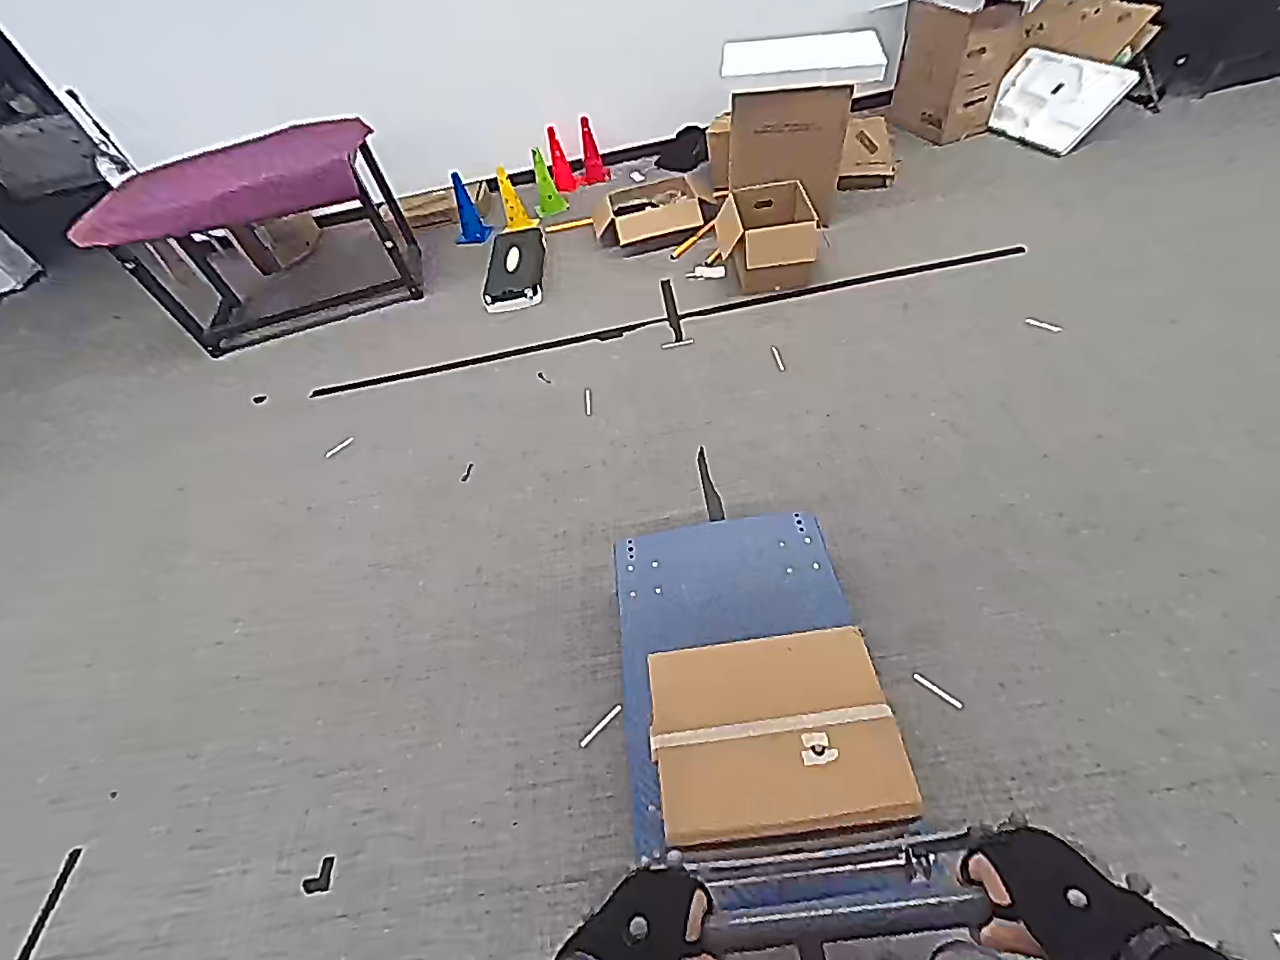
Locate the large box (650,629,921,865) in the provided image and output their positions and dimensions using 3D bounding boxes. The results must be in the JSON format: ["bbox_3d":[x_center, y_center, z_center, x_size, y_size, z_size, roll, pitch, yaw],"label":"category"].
[{"bbox_3d":[0.249,0.527,1.056,0.408,0.320,0.320,-9,51,2],"label":"large box"}]
